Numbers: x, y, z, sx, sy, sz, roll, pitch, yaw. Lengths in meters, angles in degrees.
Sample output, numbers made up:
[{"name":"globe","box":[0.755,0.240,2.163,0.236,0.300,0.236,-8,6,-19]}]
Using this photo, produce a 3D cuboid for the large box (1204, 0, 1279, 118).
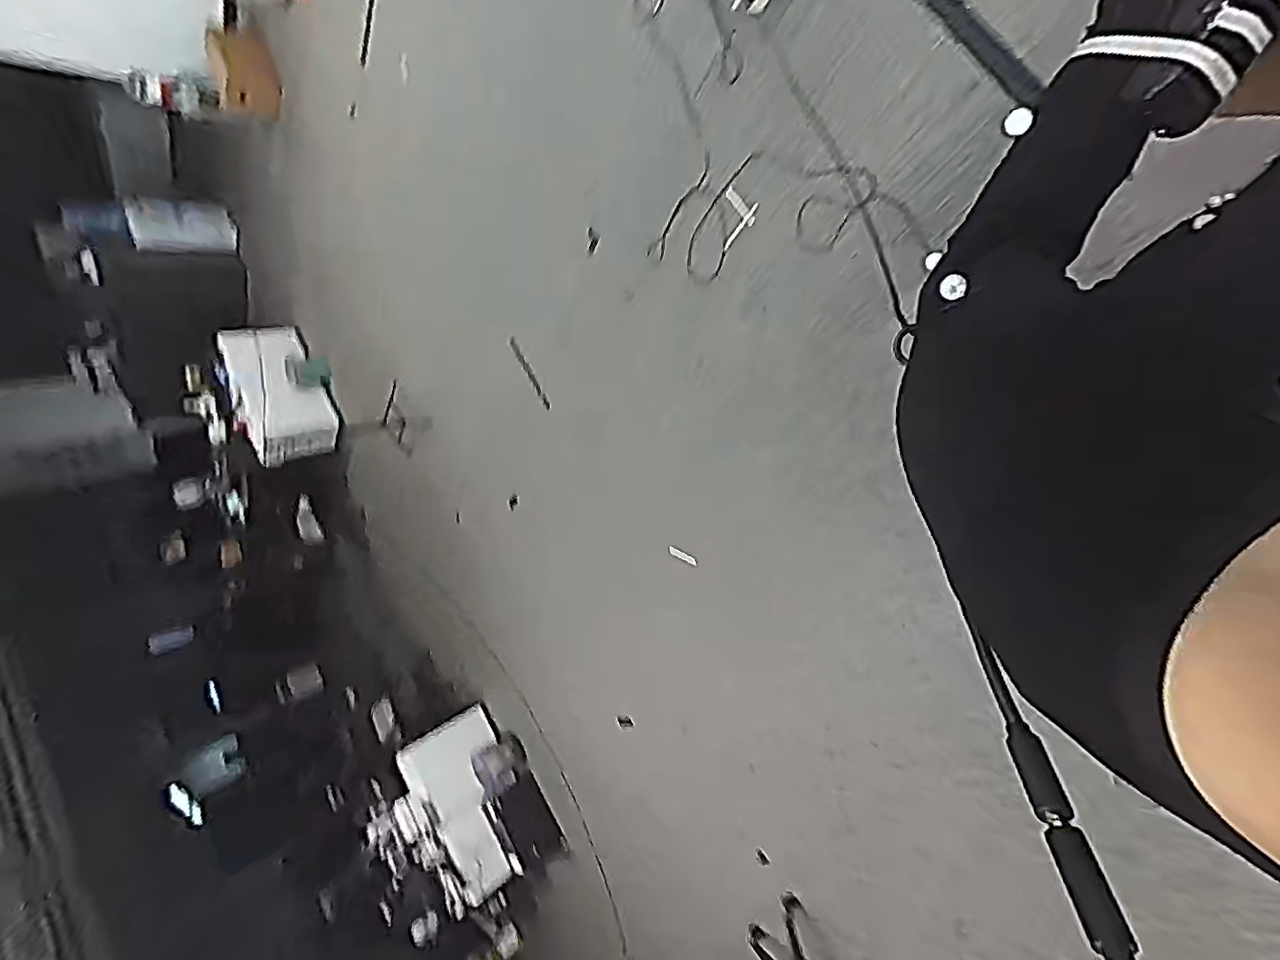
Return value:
[{"name":"large box","box":[0.614,-0.409,0.261,0.408,0.320,0.320,23,119,37]}]
